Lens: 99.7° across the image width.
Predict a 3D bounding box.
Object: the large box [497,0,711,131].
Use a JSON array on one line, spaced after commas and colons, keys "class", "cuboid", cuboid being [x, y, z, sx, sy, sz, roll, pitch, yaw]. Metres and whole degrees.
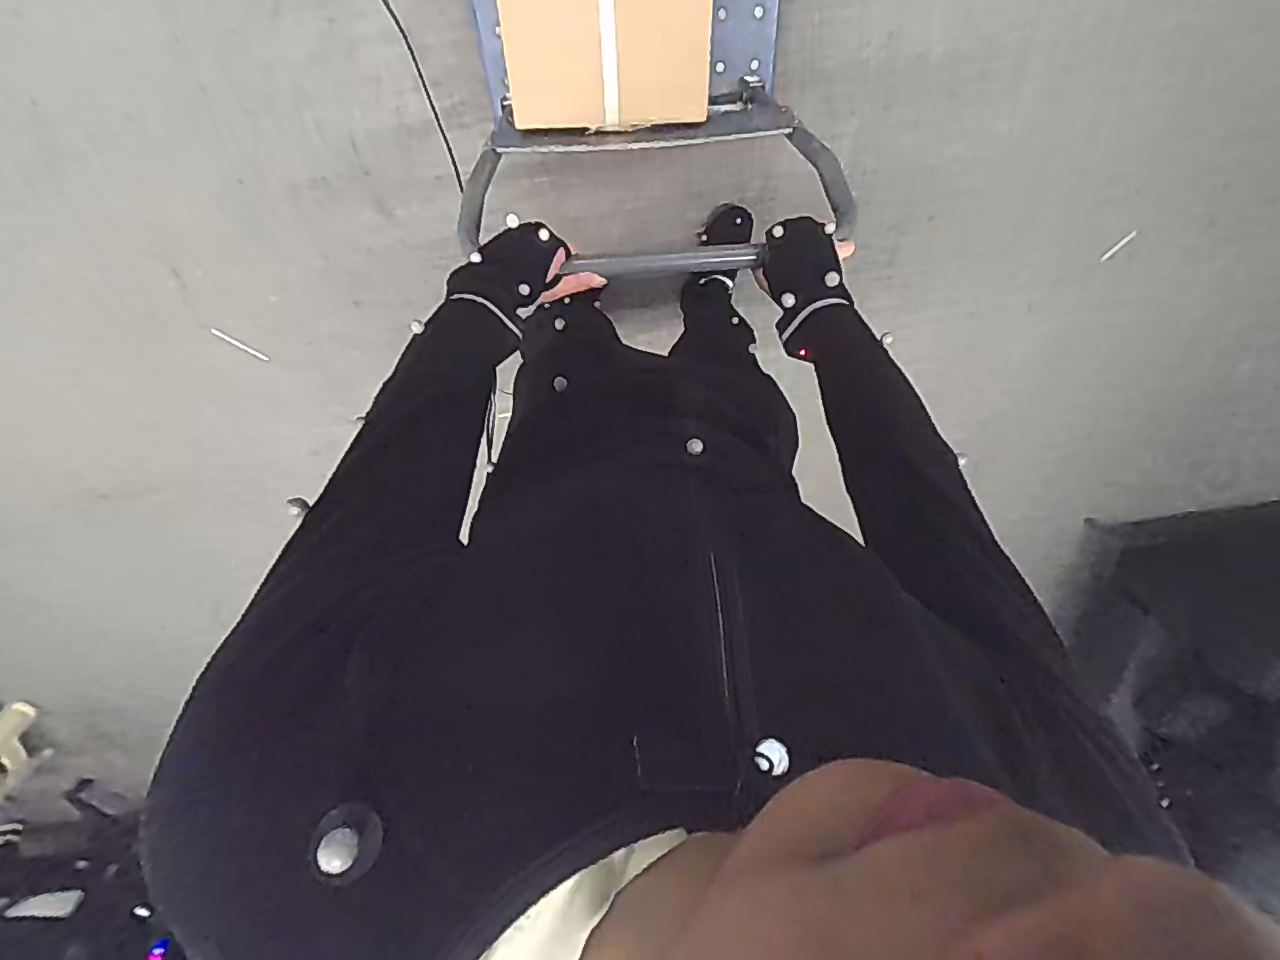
[{"class": "large box", "cuboid": [-0.058, -0.823, 0.866, 0.320, 0.320, 0.408, -3, 130, -1]}]
